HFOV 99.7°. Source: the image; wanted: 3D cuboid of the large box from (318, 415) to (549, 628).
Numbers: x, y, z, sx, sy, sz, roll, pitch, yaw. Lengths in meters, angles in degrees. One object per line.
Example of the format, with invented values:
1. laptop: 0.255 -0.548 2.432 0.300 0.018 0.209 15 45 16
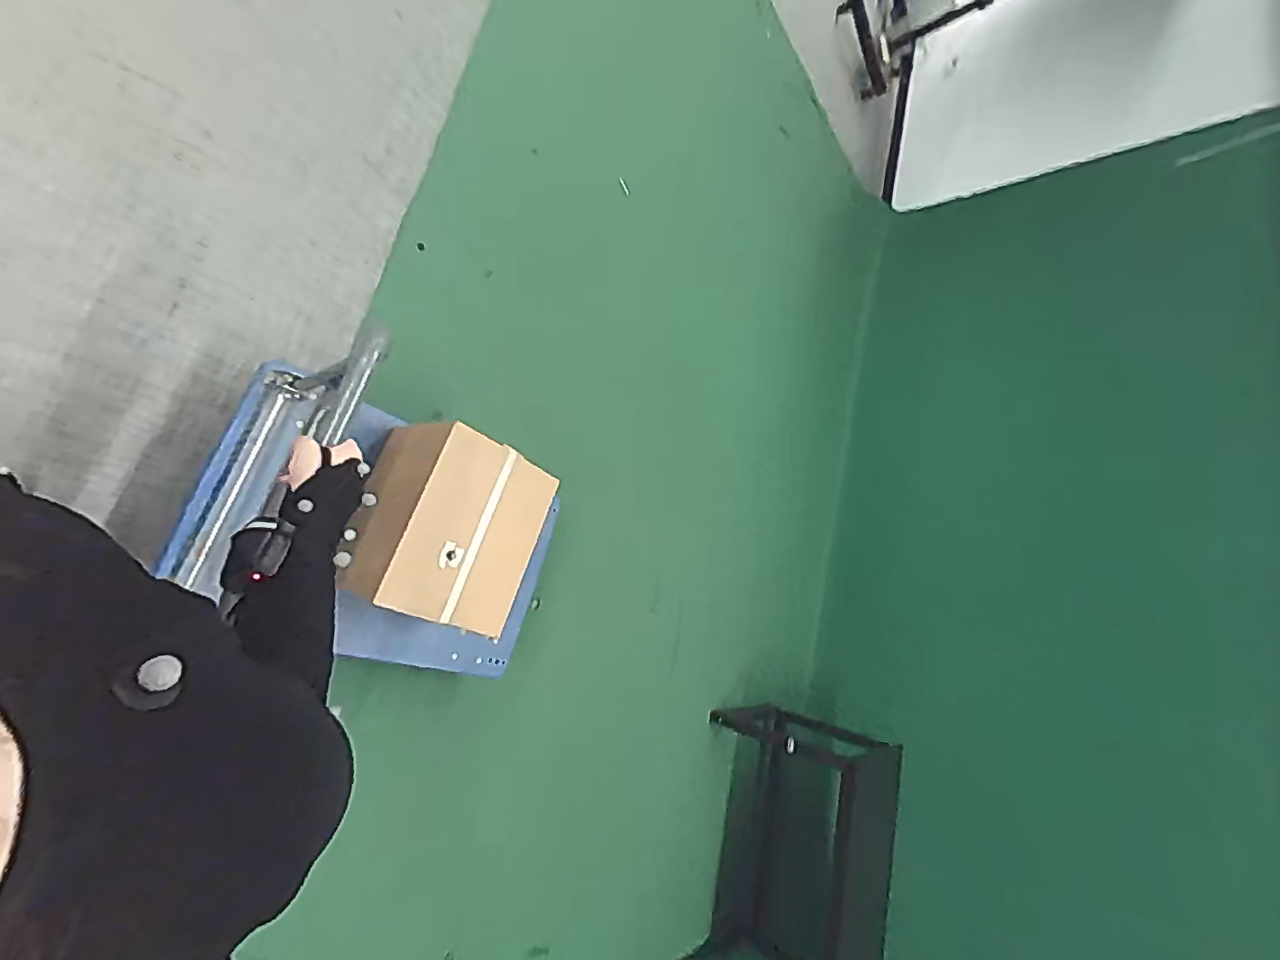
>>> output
1. large box: -0.483 0.091 1.293 0.320 0.320 0.408 34 68 -42
